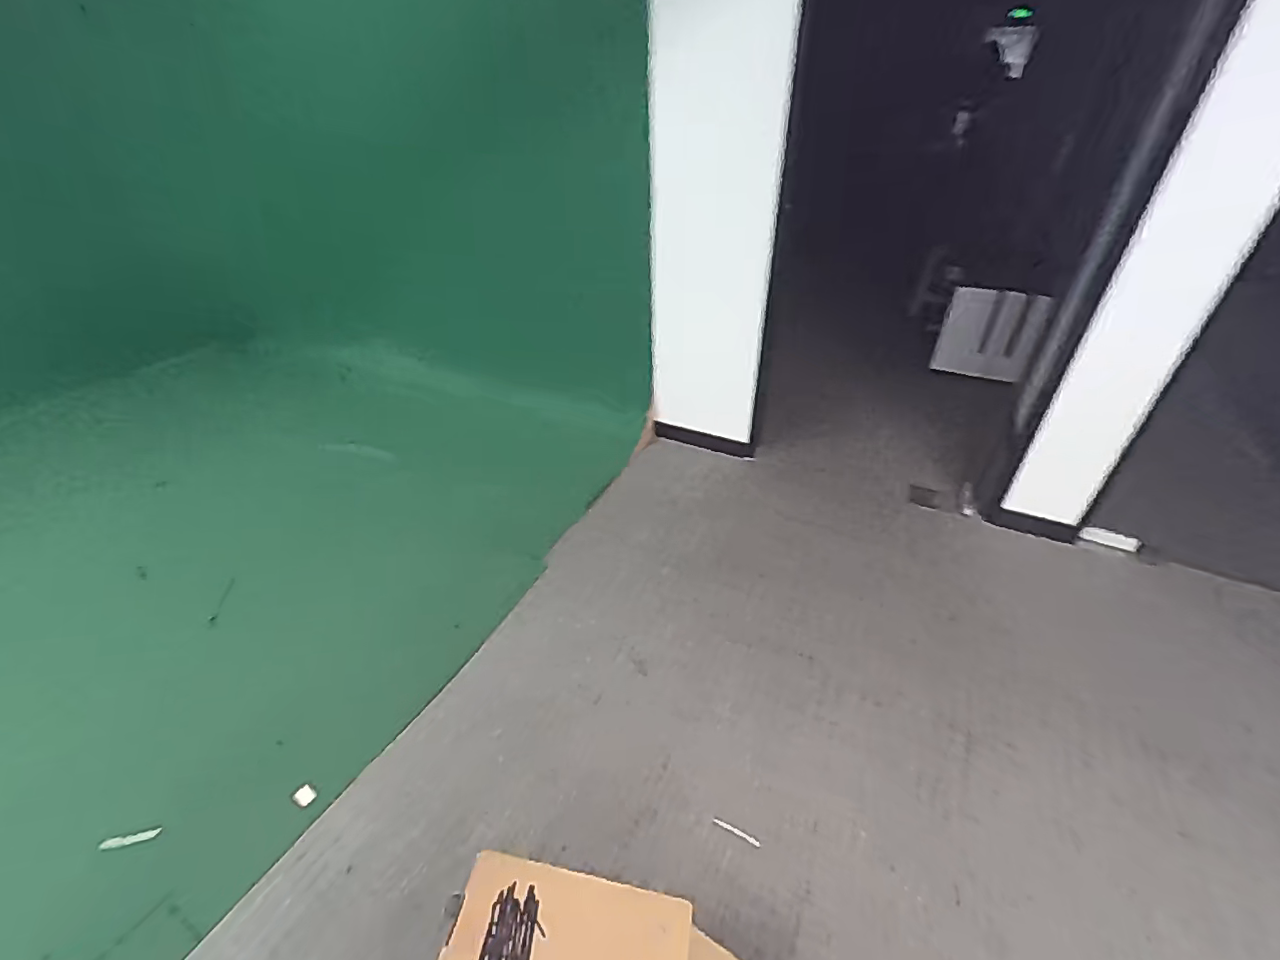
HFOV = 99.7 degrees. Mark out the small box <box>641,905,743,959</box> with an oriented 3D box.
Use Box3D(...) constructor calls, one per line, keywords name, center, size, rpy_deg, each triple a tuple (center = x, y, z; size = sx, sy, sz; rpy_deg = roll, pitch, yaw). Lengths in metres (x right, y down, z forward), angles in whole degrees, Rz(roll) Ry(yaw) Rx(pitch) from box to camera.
Box3D(name="small box", center=(0.054, 0.615, 0.570), size=(0.168, 0.176, 0.179), rpy_deg=(21, 41, 24))
